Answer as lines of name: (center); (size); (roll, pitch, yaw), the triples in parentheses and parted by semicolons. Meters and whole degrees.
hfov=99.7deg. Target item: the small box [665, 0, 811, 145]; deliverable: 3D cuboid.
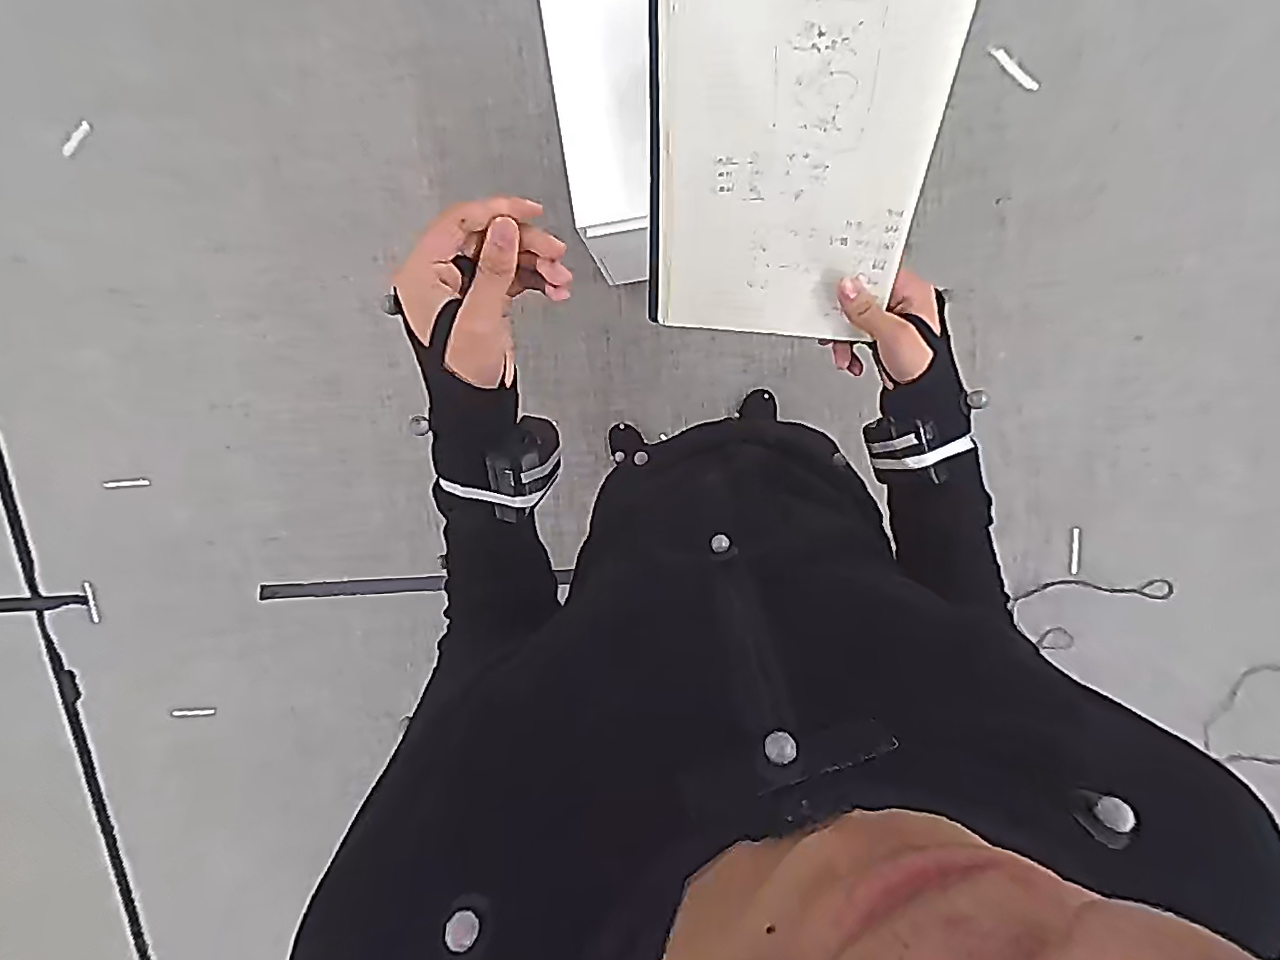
small box: (0.141, -0.662, 0.837); (0.179, 0.176, 0.168); (-16, 97, 6)
